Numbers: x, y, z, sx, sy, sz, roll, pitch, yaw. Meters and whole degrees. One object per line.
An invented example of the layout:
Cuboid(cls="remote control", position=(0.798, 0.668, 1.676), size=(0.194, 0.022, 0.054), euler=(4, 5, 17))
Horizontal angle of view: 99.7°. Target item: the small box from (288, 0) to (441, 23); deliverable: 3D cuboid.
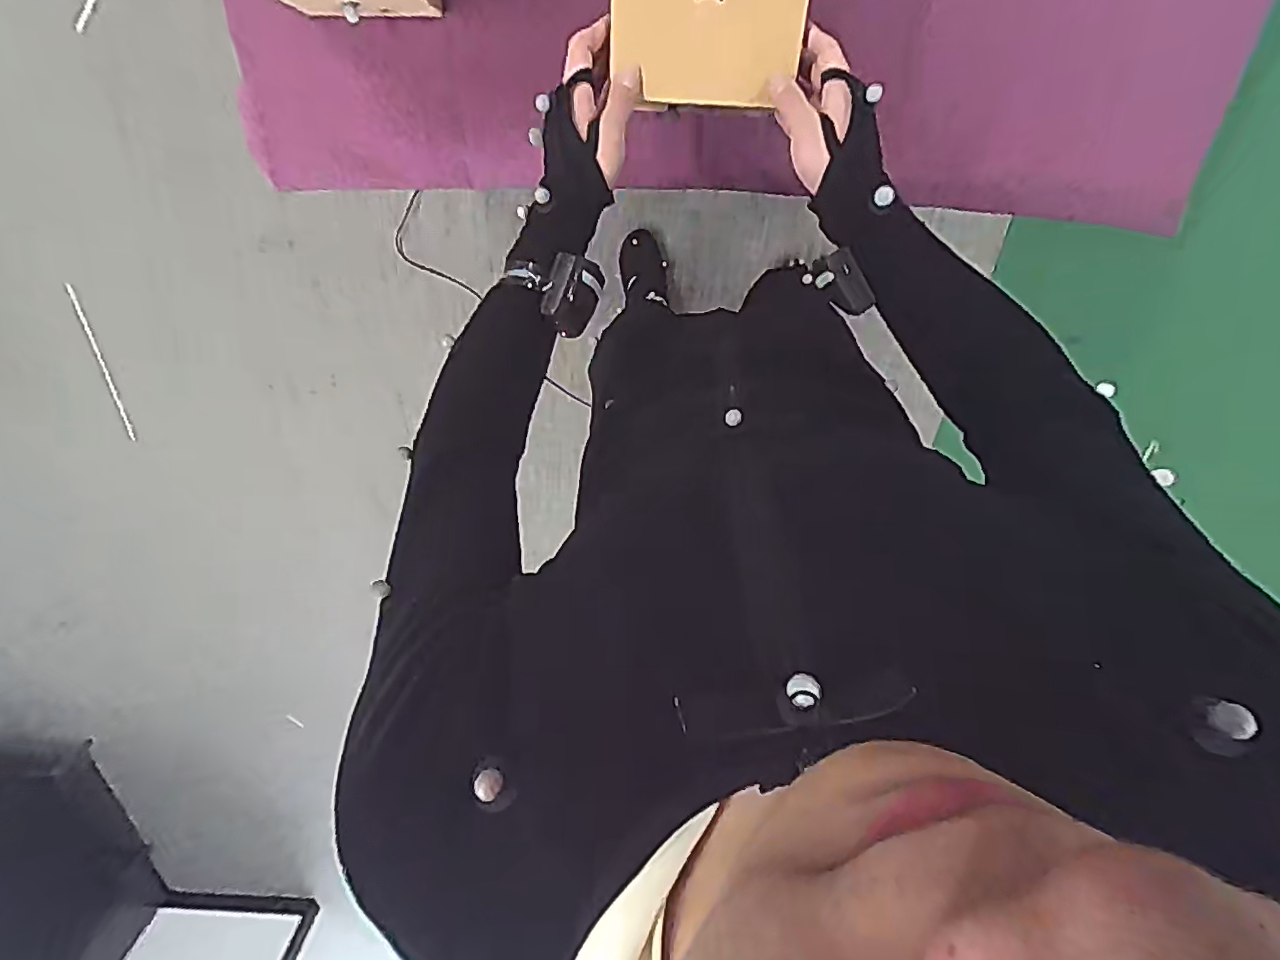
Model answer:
Cuboid(cls="small box", position=(-0.313, -0.585, 0.528), size=(0.168, 0.176, 0.179), euler=(1, 118, 1))
